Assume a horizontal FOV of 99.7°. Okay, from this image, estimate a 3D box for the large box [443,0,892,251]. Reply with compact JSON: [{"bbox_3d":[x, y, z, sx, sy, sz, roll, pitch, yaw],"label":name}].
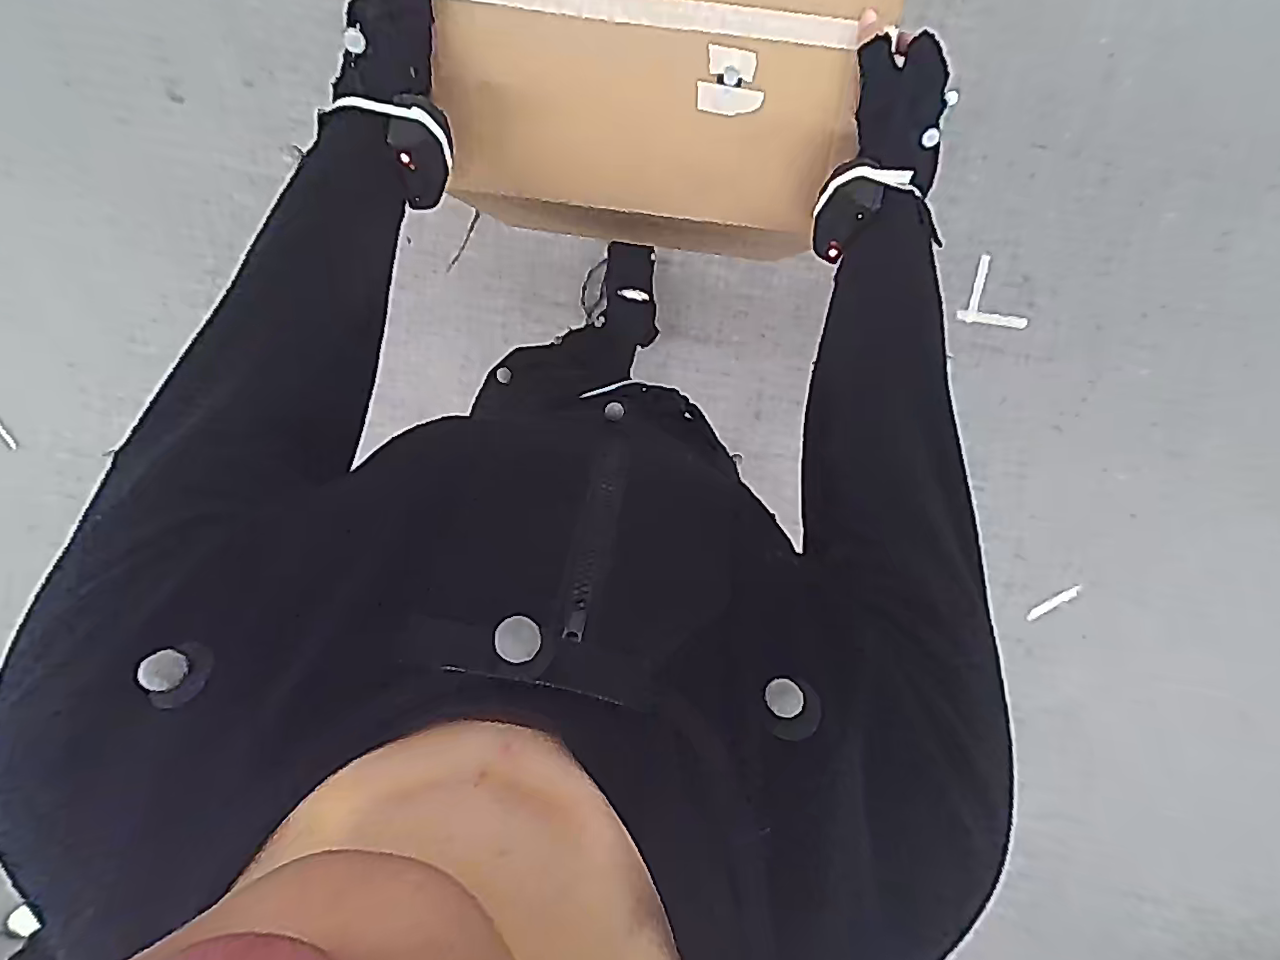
[{"bbox_3d":[0.021,-0.460,0.623,0.408,0.320,0.320,6,109,-2],"label":"large box"}]
